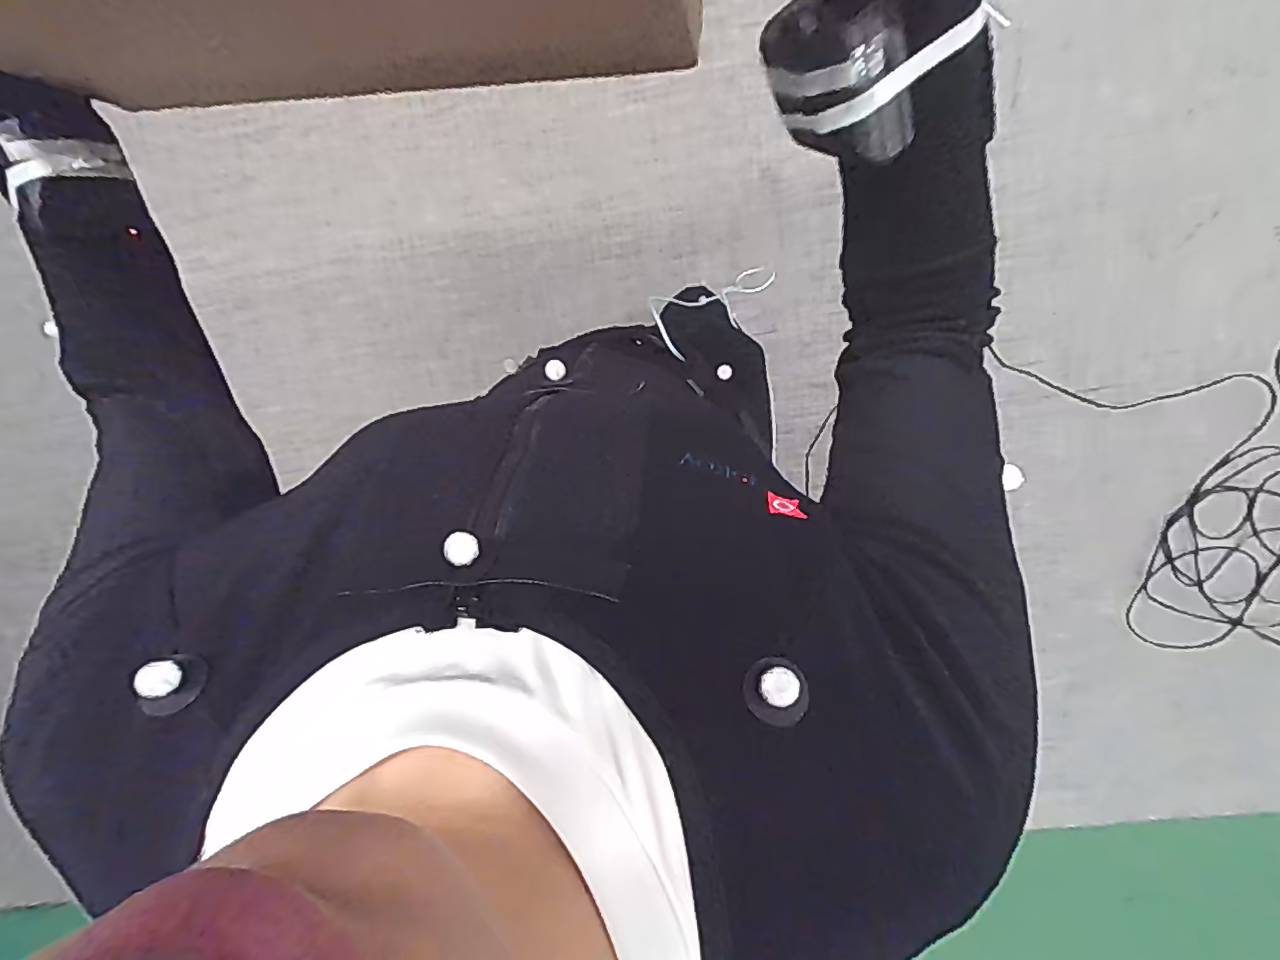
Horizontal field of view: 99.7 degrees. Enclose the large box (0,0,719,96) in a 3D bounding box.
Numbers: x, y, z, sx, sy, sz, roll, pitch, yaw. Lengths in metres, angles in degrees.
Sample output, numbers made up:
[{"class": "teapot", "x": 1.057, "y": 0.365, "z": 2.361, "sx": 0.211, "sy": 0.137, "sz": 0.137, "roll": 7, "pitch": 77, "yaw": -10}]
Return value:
[{"class": "large box", "x": -0.178, "y": -0.362, "z": 0.160, "sx": 0.408, "sy": 0.320, "sz": 0.320, "roll": 4, "pitch": 107, "yaw": 11}]
